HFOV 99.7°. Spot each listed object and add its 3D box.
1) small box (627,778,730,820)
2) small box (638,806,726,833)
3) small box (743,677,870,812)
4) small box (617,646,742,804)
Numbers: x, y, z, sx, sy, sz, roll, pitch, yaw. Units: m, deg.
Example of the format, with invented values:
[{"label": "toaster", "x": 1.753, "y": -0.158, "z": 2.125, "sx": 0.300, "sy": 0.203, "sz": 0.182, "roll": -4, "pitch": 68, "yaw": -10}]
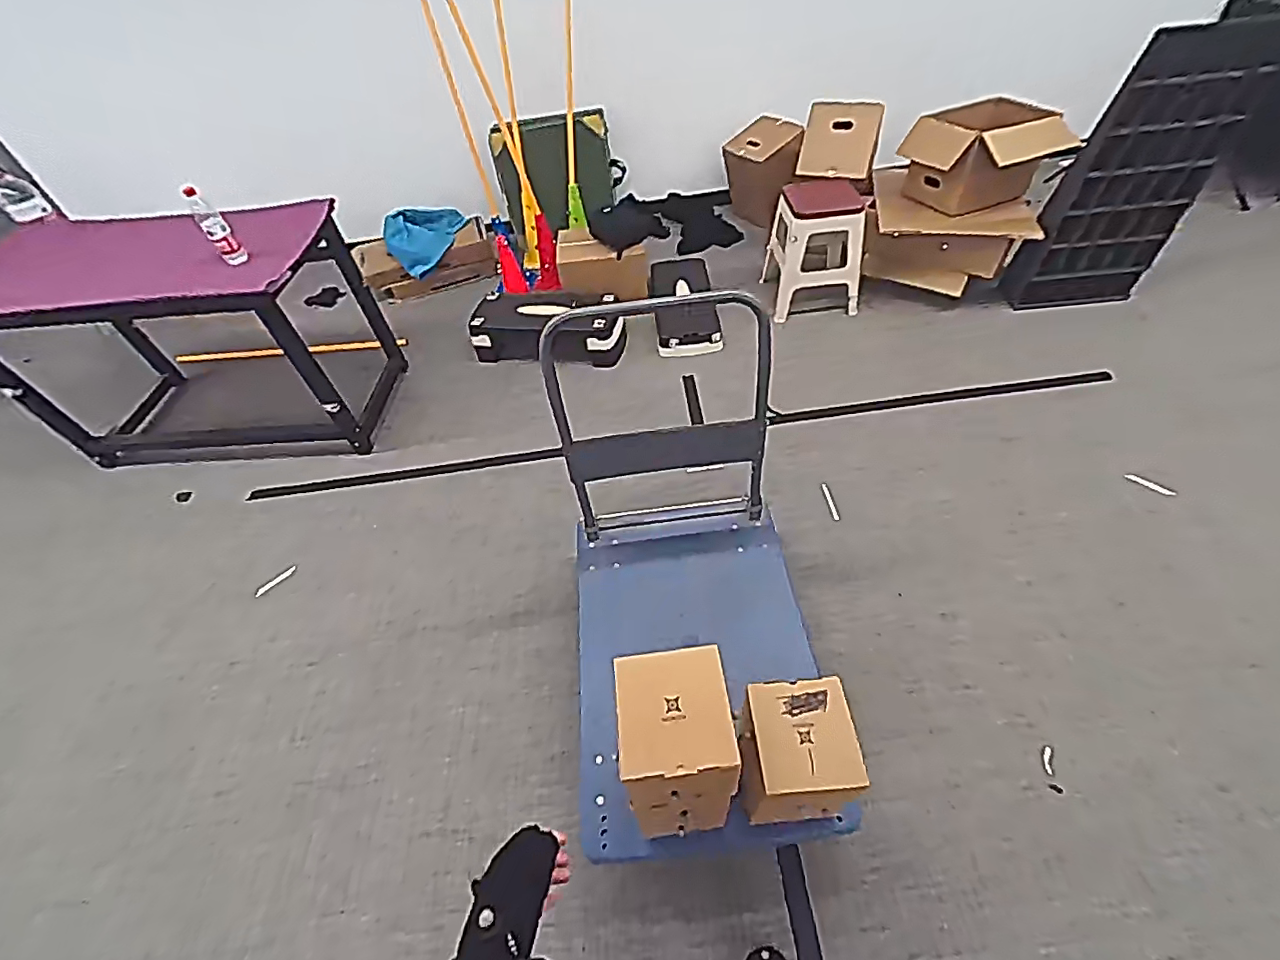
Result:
[{"label": "small box", "x": 0.062, "y": 0.495, "z": 0.969, "sx": 0.168, "sy": 0.176, "sz": 0.179, "roll": -9, "pitch": 50, "yaw": -2}, {"label": "small box", "x": 0.078, "y": 0.600, "z": 1.095, "sx": 0.168, "sy": 0.176, "sz": 0.179, "roll": -8, "pitch": 49, "yaw": -1}, {"label": "small box", "x": 0.282, "y": 0.472, "z": 0.963, "sx": 0.168, "sy": 0.176, "sz": 0.179, "roll": -6, "pitch": 50, "yaw": 2}, {"label": "small box", "x": 0.057, "y": 0.385, "z": 0.848, "sx": 0.168, "sy": 0.176, "sz": 0.179, "roll": -8, "pitch": 50, "yaw": 0}]
